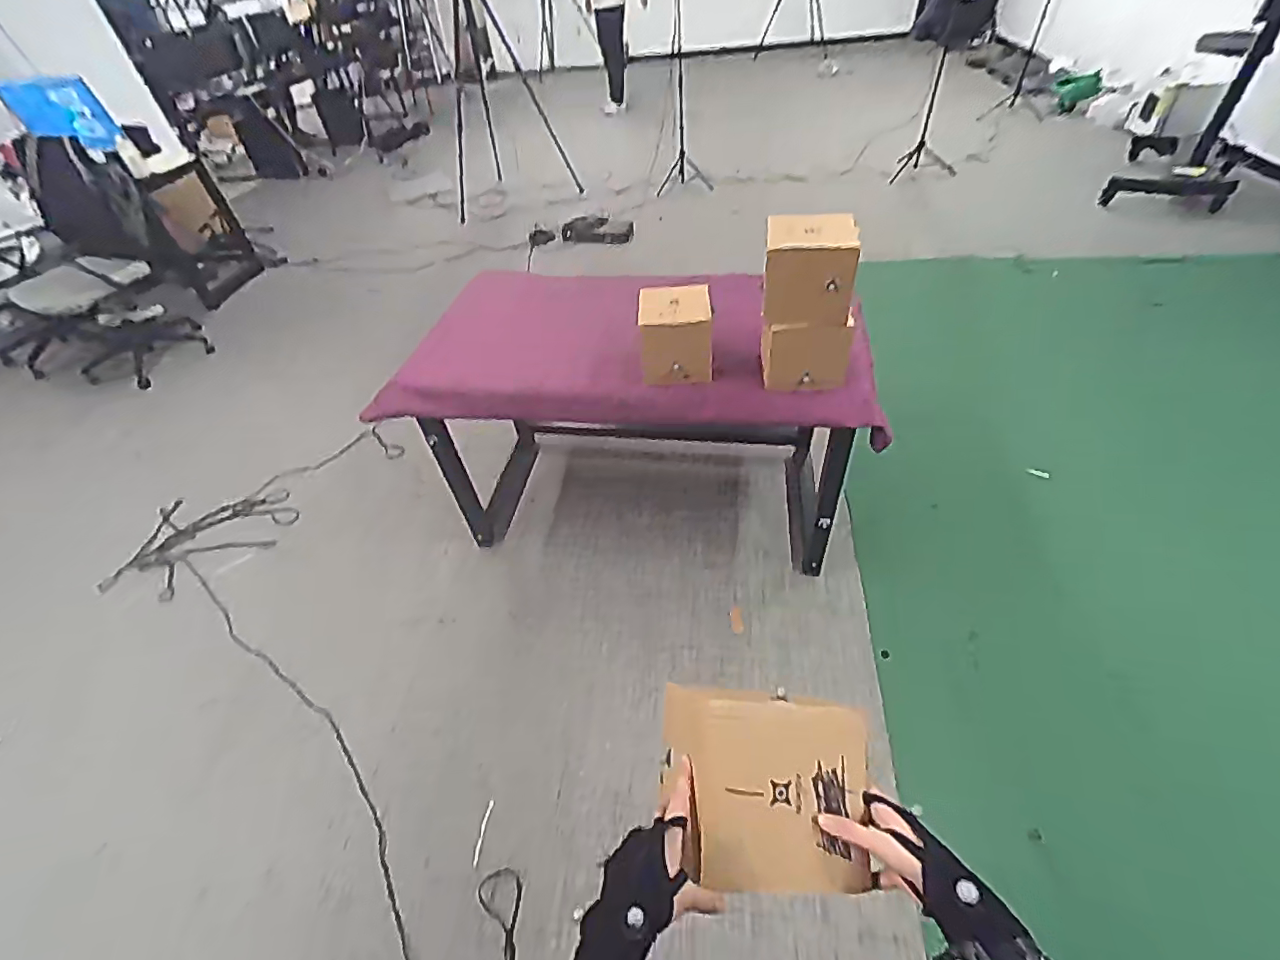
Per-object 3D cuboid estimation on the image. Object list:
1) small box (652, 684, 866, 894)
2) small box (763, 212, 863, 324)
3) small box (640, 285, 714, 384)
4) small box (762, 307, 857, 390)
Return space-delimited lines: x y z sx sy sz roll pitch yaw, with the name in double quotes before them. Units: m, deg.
"small box" 0.122 0.323 0.596 0.179 0.176 0.168 8 73 -10
"small box" 0.354 -0.440 1.132 0.179 0.176 0.168 3 47 12
"small box" 0.092 -0.351 1.308 0.168 0.176 0.179 -3 45 6
"small box" 0.379 -0.321 1.241 0.179 0.176 0.168 -1 46 7
